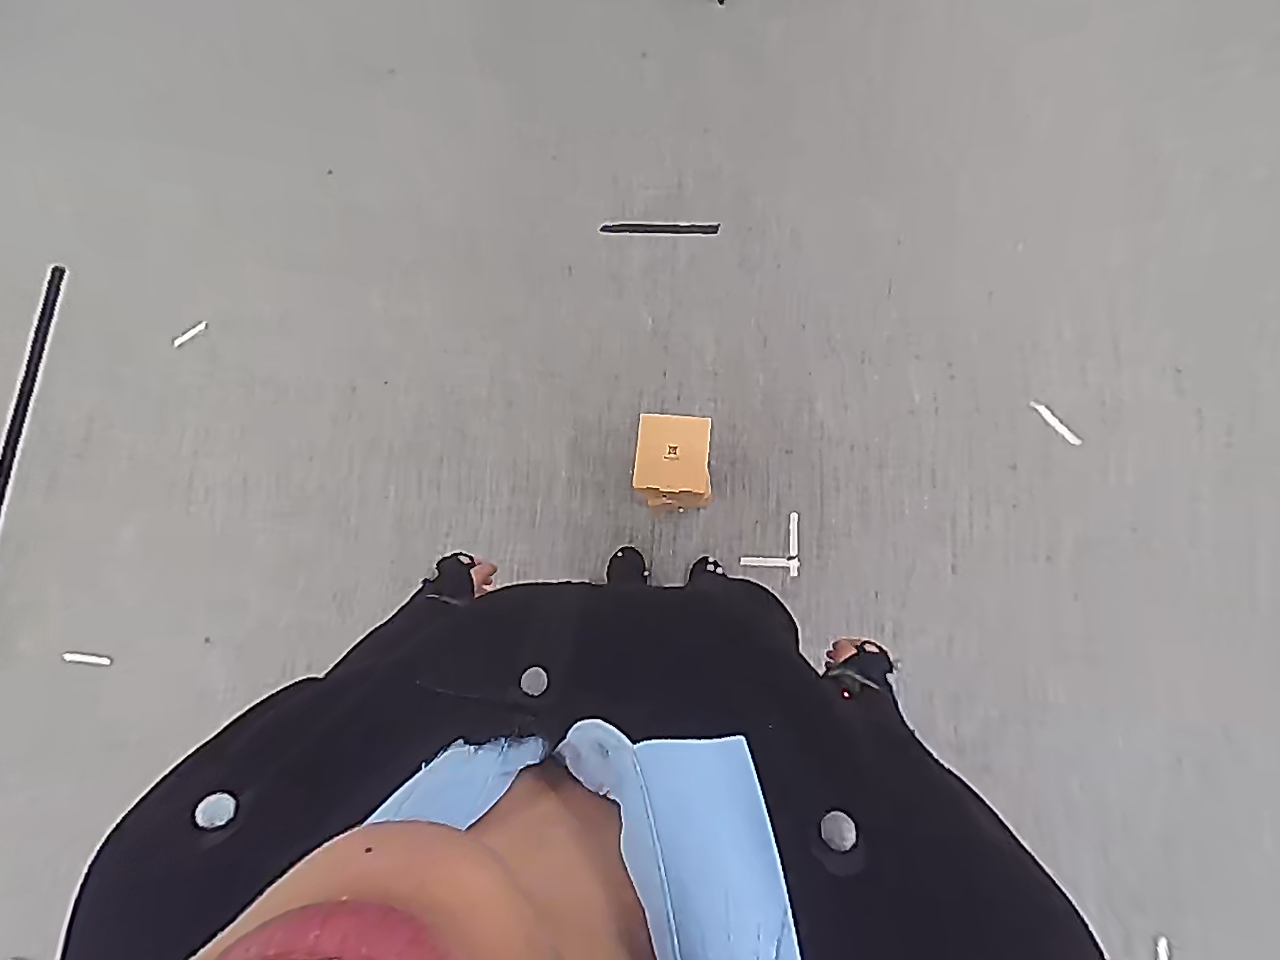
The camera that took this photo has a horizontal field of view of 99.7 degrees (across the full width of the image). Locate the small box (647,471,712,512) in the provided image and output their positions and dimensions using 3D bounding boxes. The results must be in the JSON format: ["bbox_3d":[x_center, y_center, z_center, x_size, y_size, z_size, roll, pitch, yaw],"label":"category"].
[{"bbox_3d":[0.096,-0.015,1.452,0.168,0.176,0.179,-8,81,4],"label":"small box"}]

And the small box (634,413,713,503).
[{"bbox_3d":[0.079,-0.048,1.293,0.168,0.176,0.179,5,82,5],"label":"small box"}]
